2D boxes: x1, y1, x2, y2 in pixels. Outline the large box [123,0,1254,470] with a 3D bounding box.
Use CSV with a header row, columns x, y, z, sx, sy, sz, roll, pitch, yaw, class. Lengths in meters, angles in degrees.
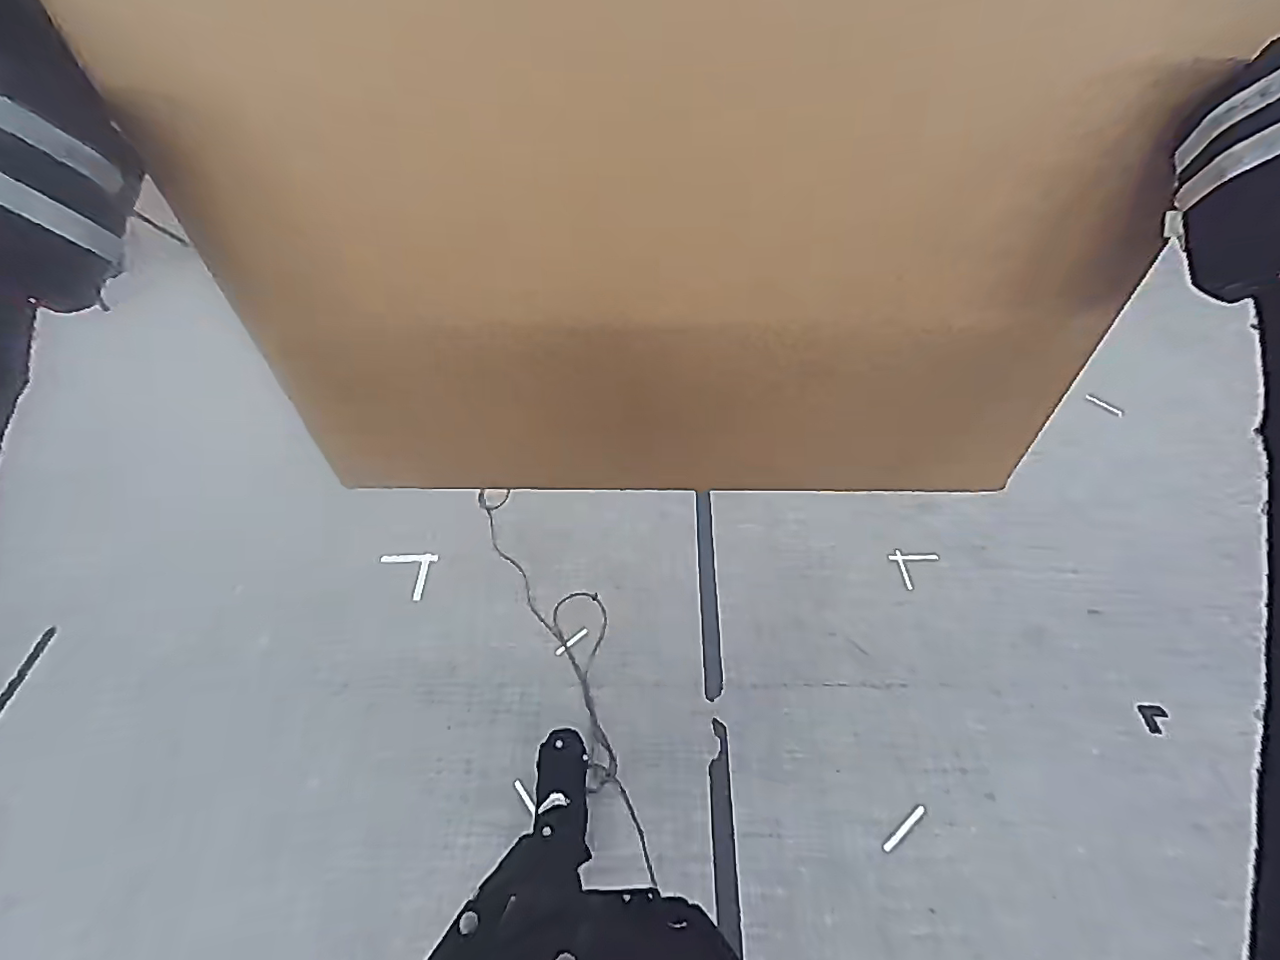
x,y,z,sx,sy,sz,roll,pitch,yaw,class
0.017,-0.216,0.344,0.408,0.320,0.320,1,46,1,large box
